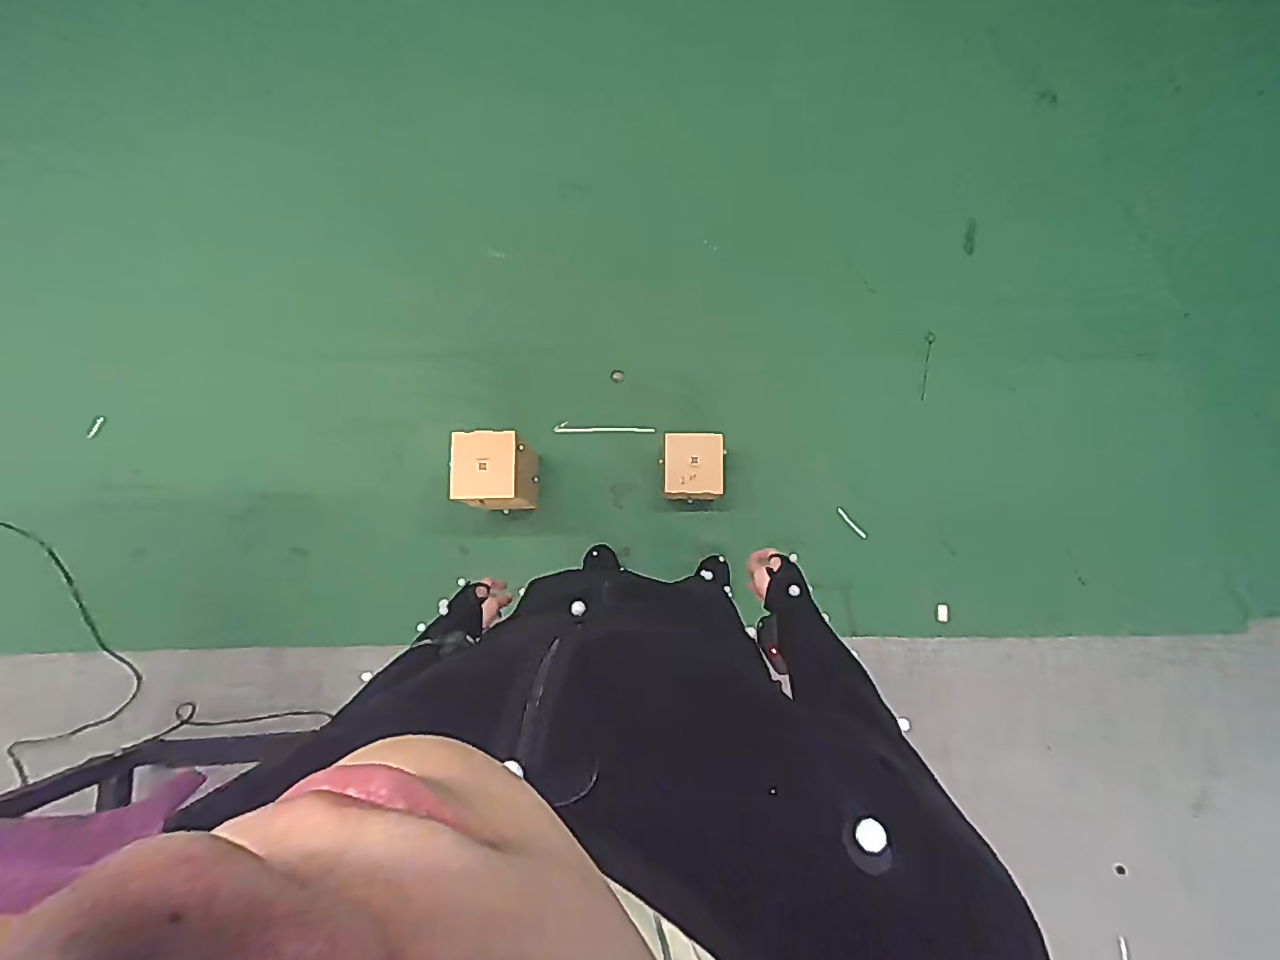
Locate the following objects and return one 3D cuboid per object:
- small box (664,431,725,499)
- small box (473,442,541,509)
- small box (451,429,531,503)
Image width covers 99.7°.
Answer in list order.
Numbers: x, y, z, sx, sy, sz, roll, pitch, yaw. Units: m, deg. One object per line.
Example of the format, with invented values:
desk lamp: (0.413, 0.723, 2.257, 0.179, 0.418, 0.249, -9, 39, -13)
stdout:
small box: (0.157, -0.042, 1.602, 0.168, 0.176, 0.179, 1, 83, 0)
small box: (-0.391, -0.009, 1.600, 0.168, 0.176, 0.179, -1, 83, 1)
small box: (-0.390, -0.031, 1.440, 0.168, 0.176, 0.179, -1, 81, 1)
